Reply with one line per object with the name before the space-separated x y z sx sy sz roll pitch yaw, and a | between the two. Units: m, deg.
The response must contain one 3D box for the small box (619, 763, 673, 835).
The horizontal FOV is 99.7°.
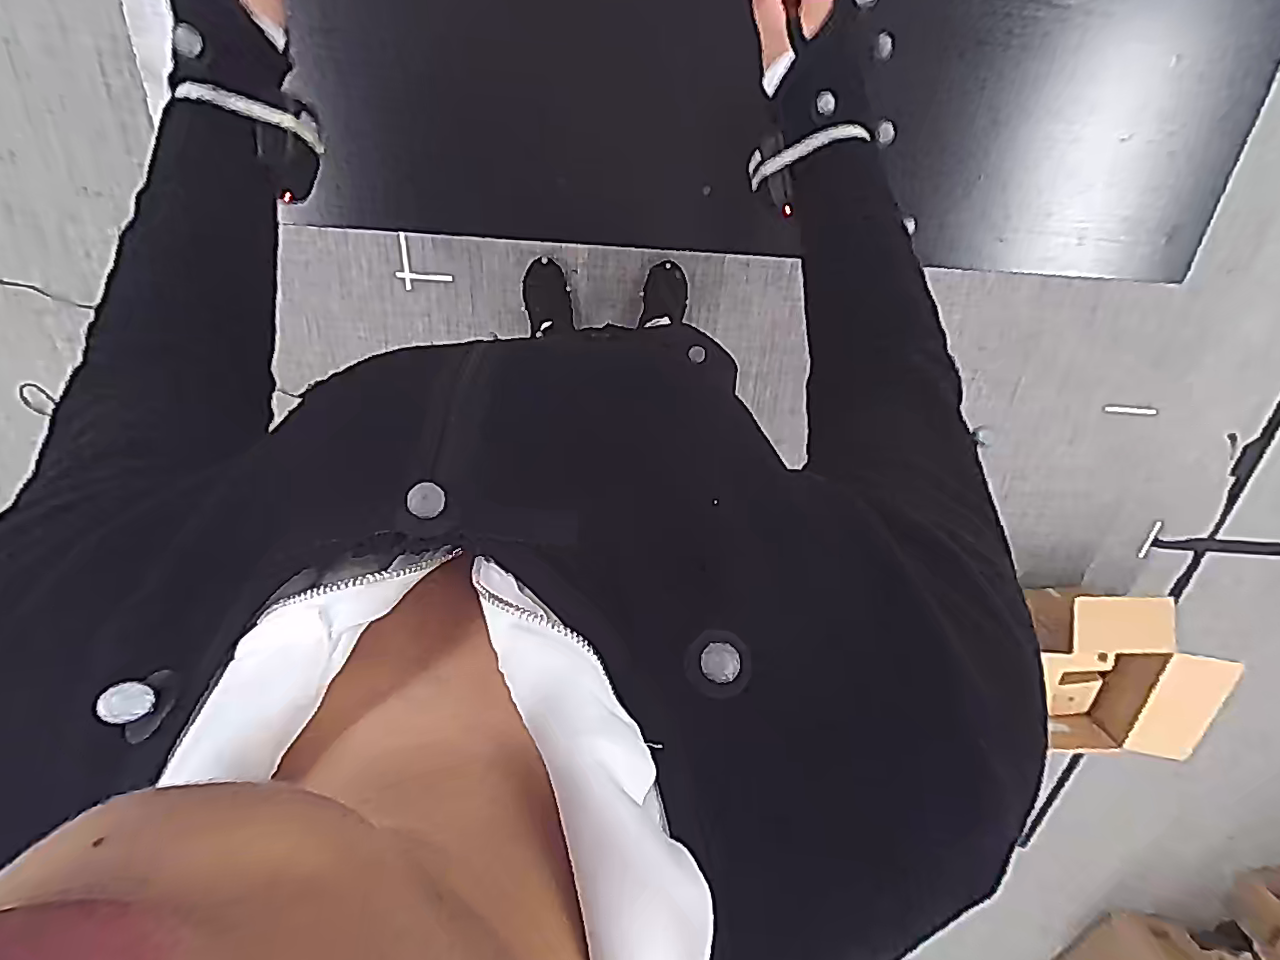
small box | 0.019 1.177 2.000 0.179 0.176 0.168 6 113 -3
